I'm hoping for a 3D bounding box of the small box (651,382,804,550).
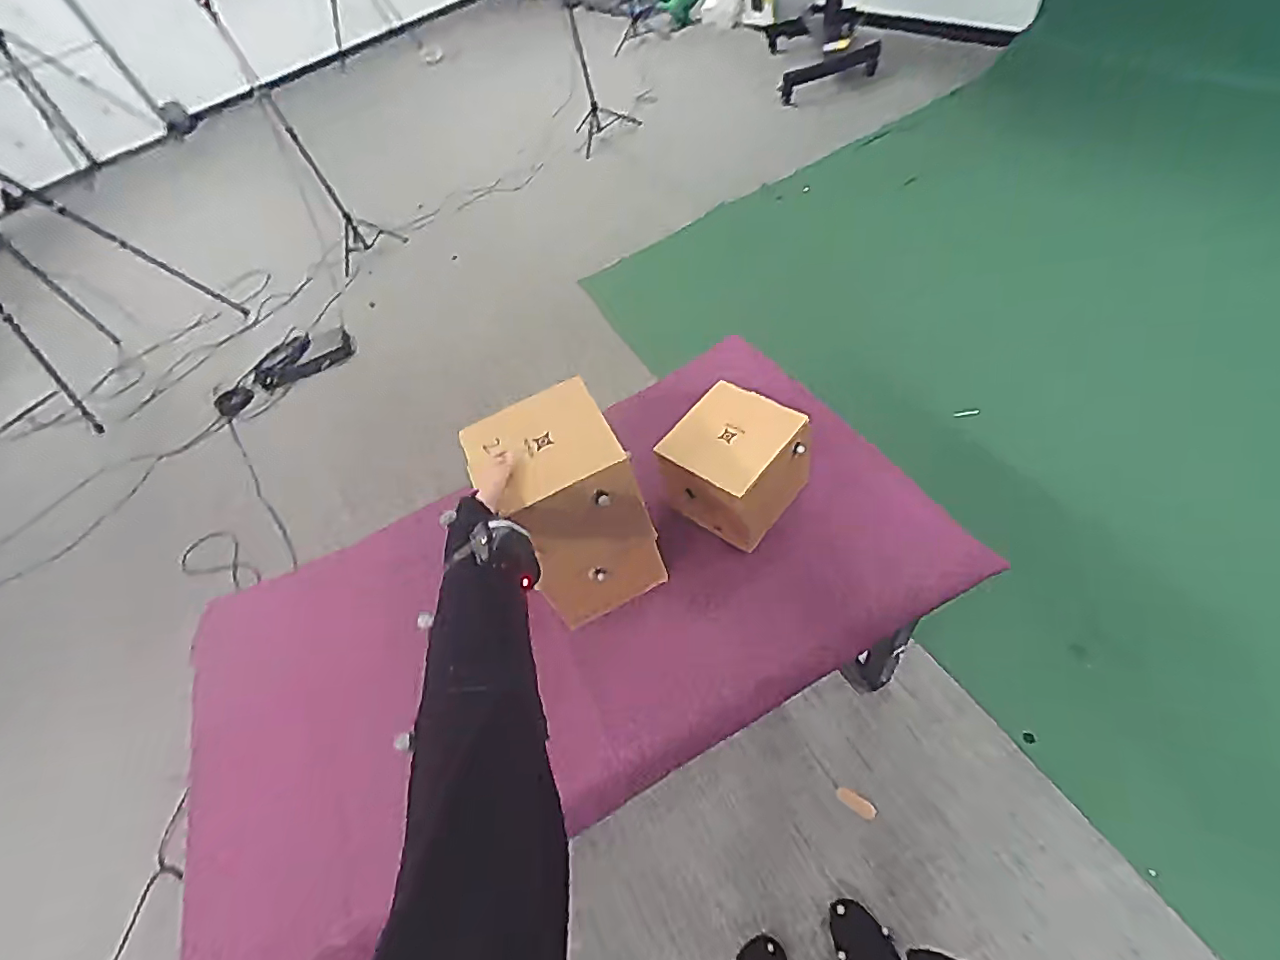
[{"bbox_3d":[0.147,-0.019,0.866,0.168,0.176,0.179,31,67,32],"label":"small box"}]

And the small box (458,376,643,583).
[{"bbox_3d":[-0.107,0.003,0.706,0.179,0.176,0.168,-26,52,-5],"label":"small box"}]

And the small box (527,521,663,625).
[{"bbox_3d":[-0.082,0.097,0.838,0.179,0.176,0.168,-26,52,-6],"label":"small box"}]
